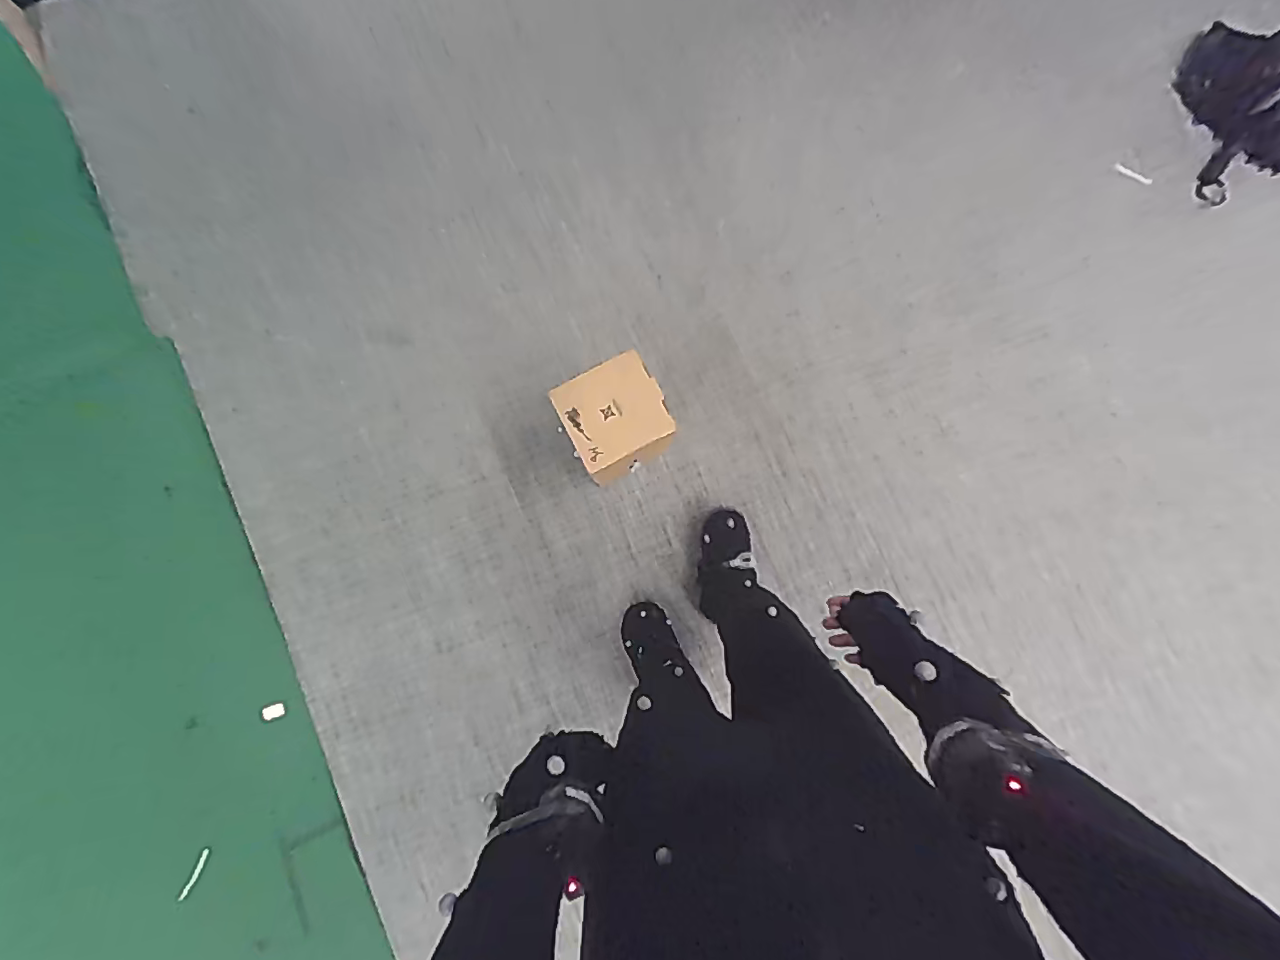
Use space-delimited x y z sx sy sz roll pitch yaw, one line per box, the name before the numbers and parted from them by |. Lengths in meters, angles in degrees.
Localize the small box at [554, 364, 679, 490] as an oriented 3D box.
small box | -0.044 -0.092 1.031 0.179 0.176 0.168 -27 85 -3
